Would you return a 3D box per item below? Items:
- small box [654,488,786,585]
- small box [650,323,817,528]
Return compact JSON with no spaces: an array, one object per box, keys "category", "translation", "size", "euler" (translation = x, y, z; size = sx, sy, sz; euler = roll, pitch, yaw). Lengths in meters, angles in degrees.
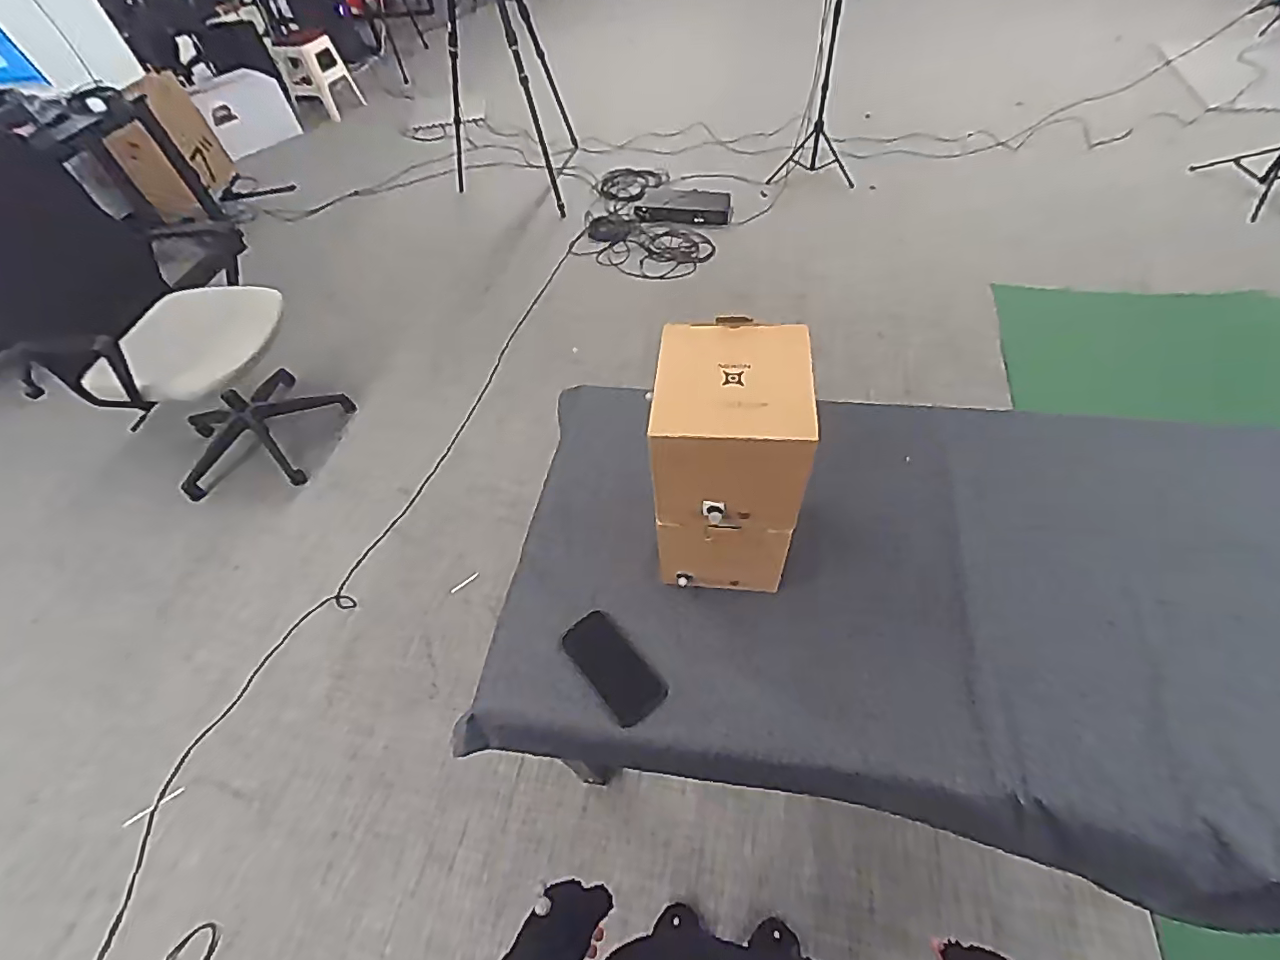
[{"category":"small box","translation":[0.114,0.034,0.769],"size":[0.168,0.176,0.179],"euler":[3,53,7]},{"category":"small box","translation":[0.105,-0.063,0.640],"size":[0.168,0.176,0.179],"euler":[2,55,8]}]
